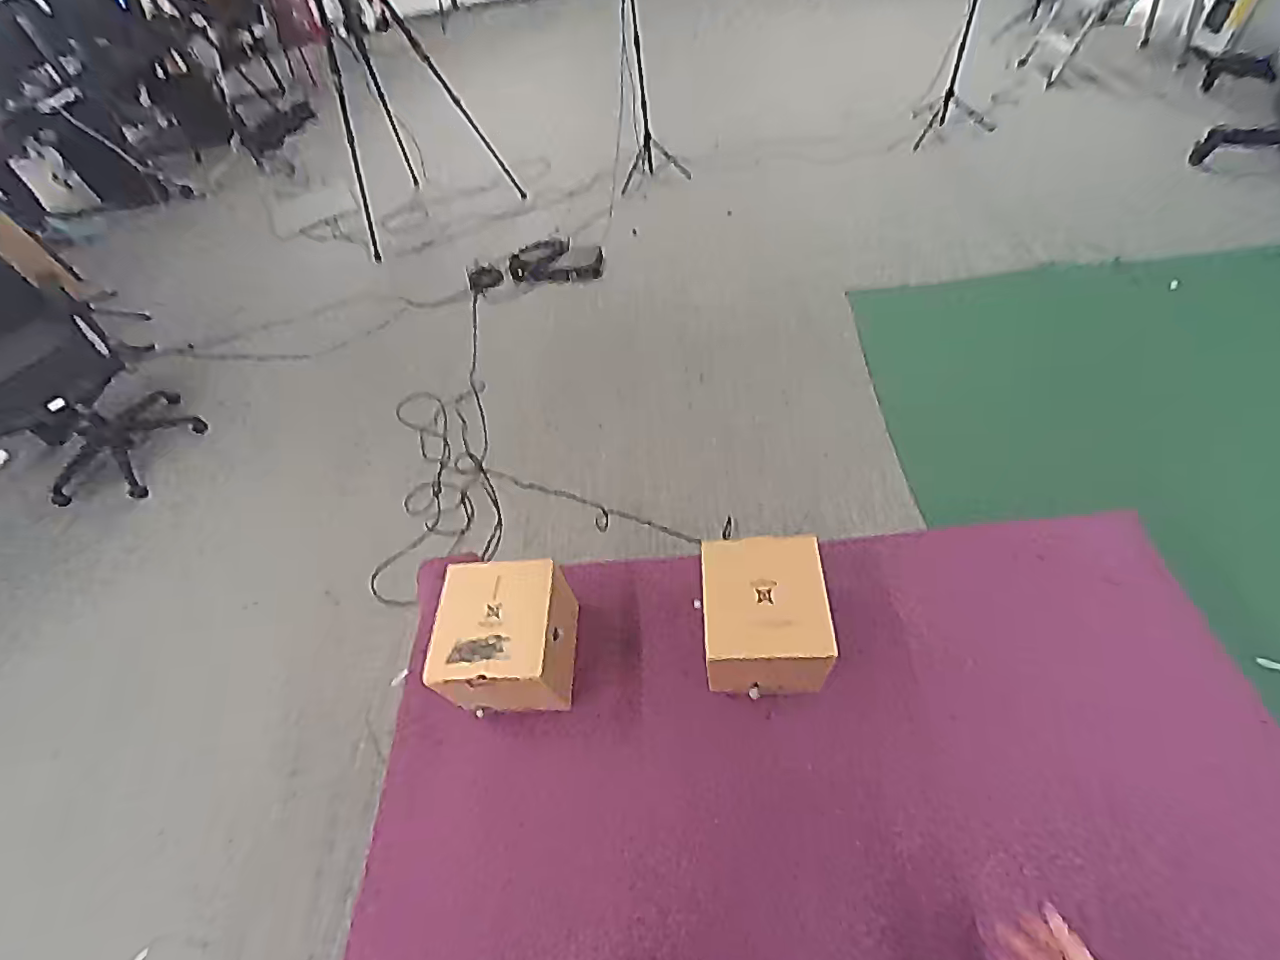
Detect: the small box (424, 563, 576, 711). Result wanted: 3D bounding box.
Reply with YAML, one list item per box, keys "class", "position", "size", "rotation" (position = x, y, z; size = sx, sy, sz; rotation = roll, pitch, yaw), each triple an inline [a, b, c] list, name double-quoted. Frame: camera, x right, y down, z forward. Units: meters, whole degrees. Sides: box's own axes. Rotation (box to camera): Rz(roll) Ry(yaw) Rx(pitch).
- class: "small box"
  position: [-0.196, 0.243, 0.816]
  size: [0.168, 0.176, 0.179]
  rotation: [-3, 54, 5]

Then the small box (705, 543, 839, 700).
- class: "small box"
  position: [0.180, 0.209, 0.792]
  size: [0.168, 0.176, 0.179]
  rotation: [-3, 55, 7]
